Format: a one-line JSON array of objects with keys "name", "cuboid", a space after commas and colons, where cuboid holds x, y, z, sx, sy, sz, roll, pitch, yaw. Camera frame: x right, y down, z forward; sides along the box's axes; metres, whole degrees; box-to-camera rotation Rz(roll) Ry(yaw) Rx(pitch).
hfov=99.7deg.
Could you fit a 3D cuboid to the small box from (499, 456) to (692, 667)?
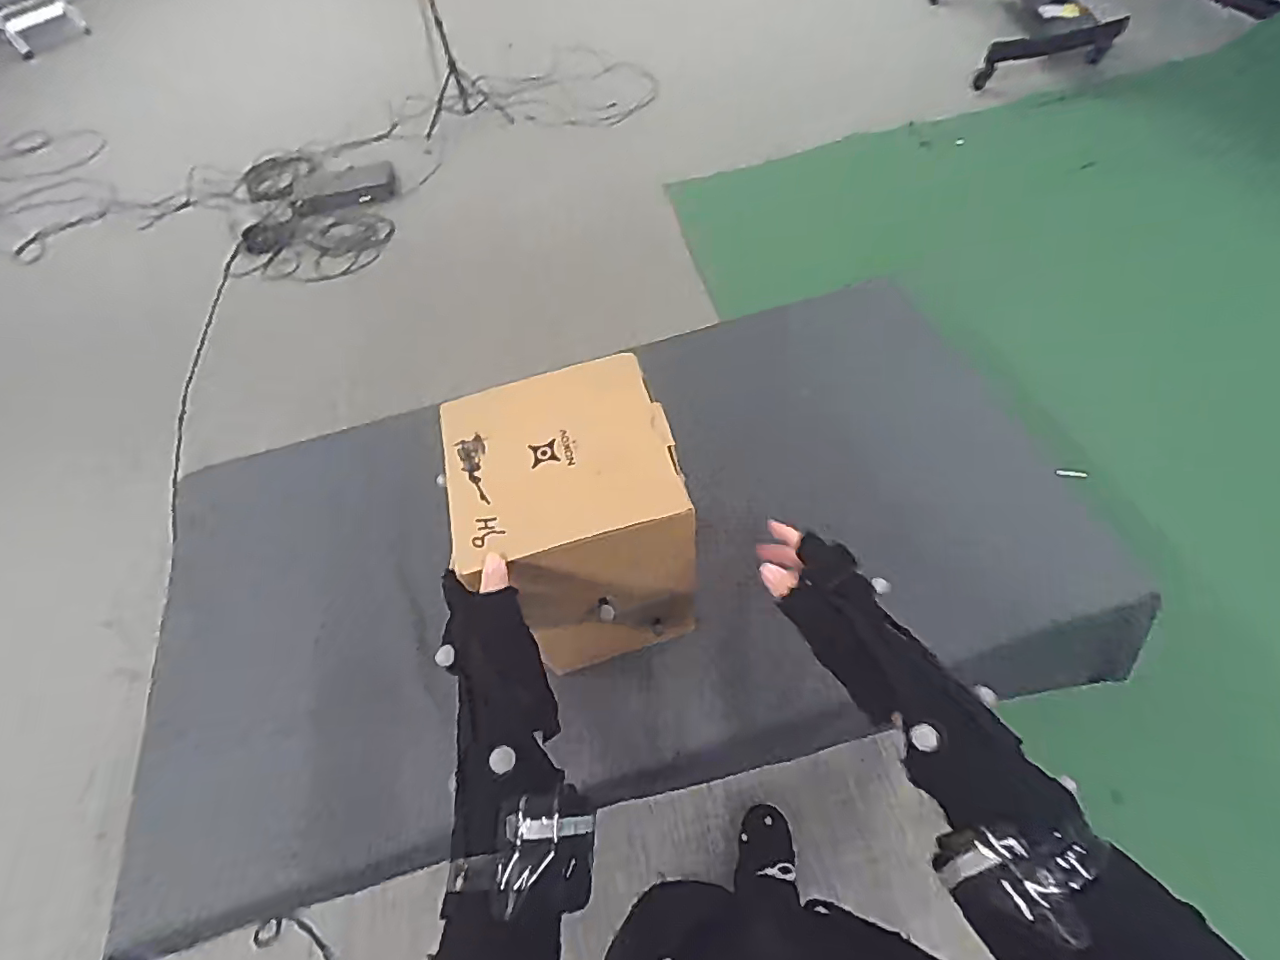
[{"name": "small box", "cuboid": [-0.047, 0.102, 0.641, 0.179, 0.176, 0.168, -18, 58, -4]}]
